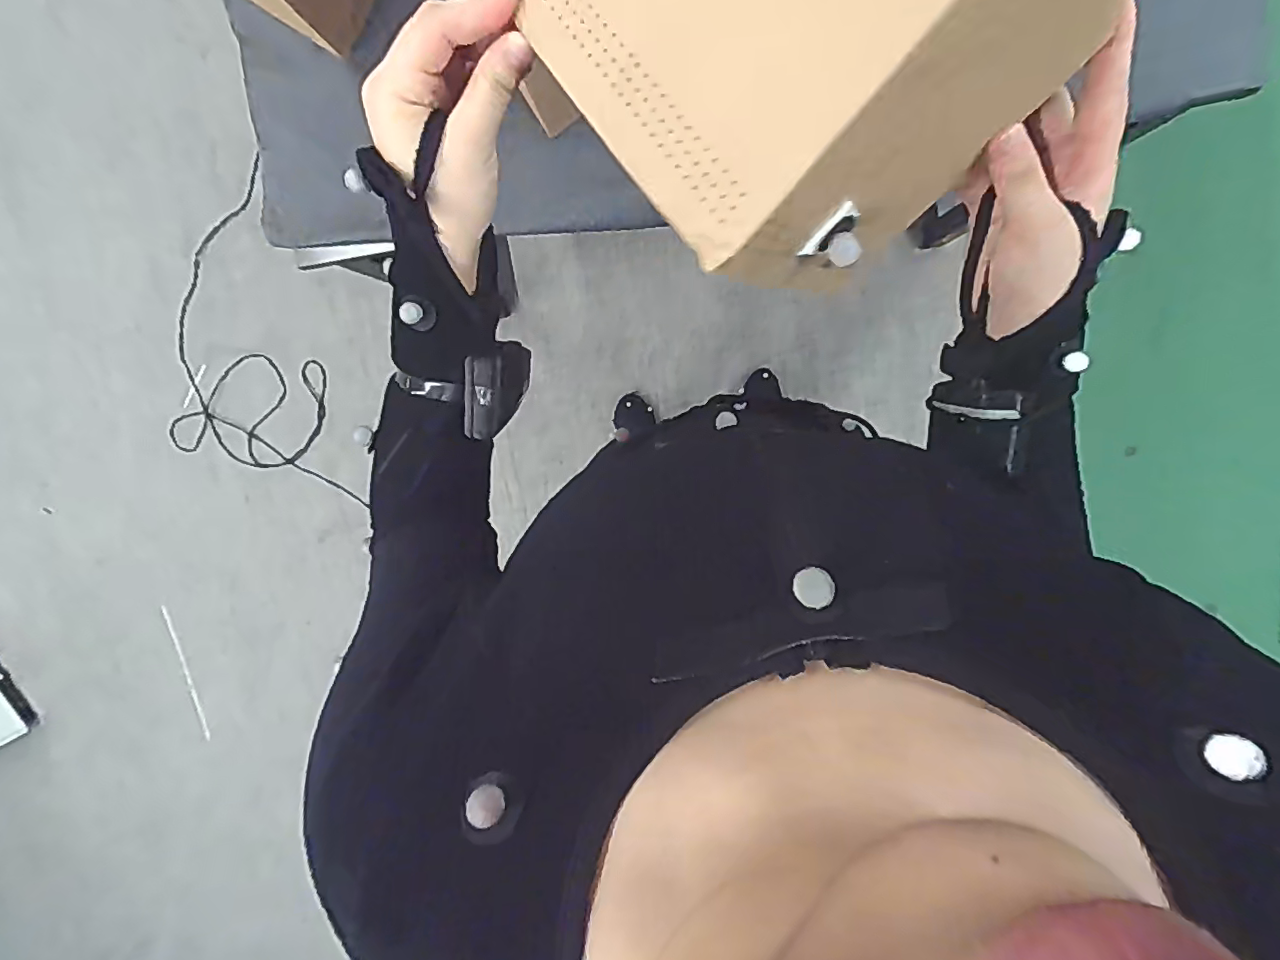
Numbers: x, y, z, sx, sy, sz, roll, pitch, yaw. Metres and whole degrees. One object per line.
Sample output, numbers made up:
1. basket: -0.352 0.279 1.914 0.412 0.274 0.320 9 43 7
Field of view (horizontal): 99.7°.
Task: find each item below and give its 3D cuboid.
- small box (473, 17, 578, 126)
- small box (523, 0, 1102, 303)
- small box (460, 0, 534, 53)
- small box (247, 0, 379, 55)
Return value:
1. small box: -0.098 -0.532 0.591 0.168 0.176 0.179 -33 95 8
2. small box: 0.073 -0.213 0.261 0.176 0.168 0.179 -41 76 40
3. small box: -0.114 -0.499 0.433 0.168 0.176 0.179 -44 93 10
4. small box: -0.410 -0.632 0.599 0.179 0.176 0.168 32 100 -2
